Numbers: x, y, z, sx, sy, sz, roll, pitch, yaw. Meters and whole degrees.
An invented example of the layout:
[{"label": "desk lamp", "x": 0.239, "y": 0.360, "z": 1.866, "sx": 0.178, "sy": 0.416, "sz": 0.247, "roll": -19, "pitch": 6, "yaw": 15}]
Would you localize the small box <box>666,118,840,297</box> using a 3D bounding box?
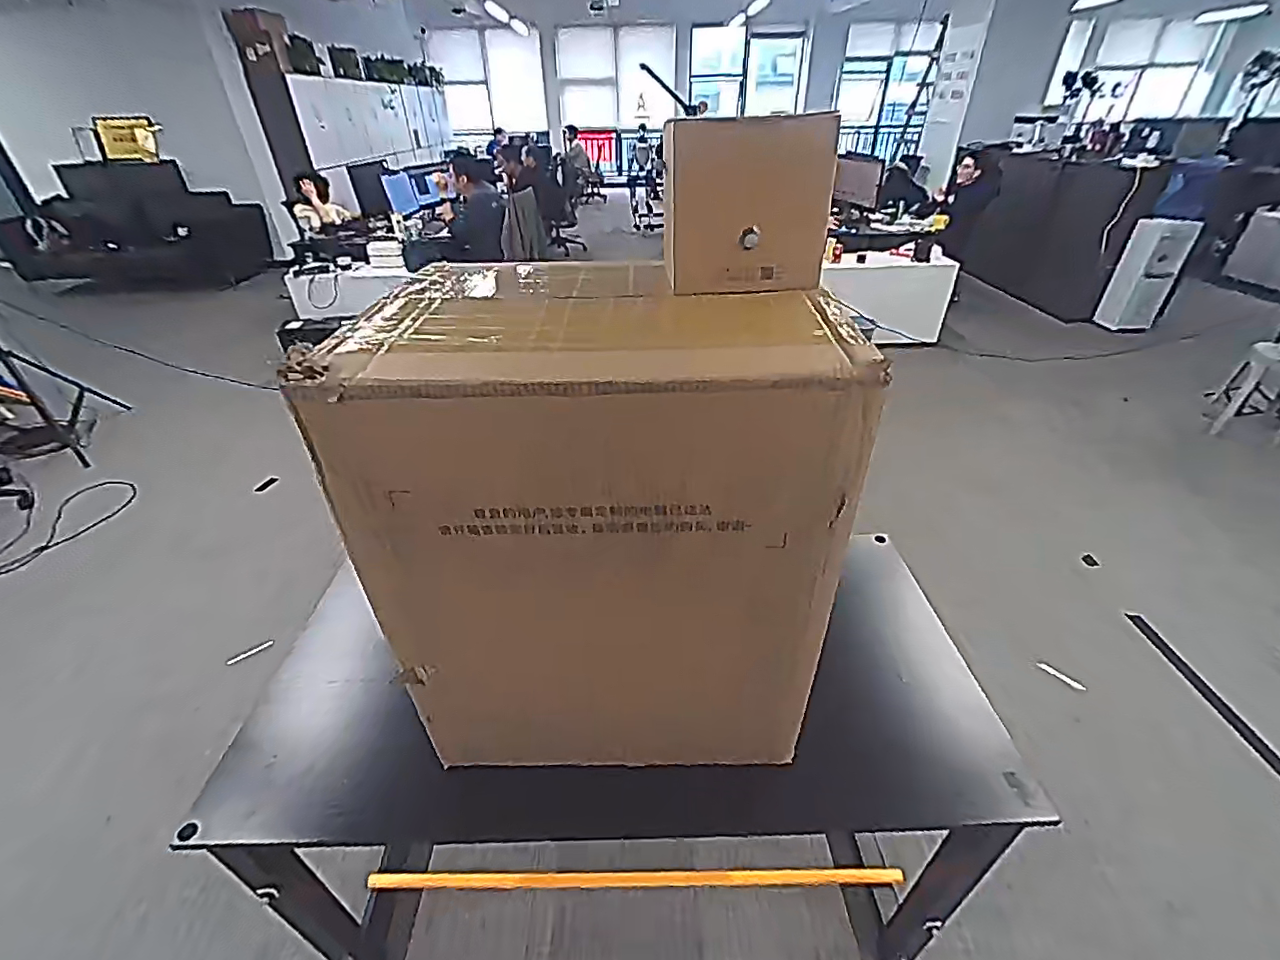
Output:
[{"label": "small box", "x": 0.116, "y": -0.321, "z": 0.639, "sx": 0.168, "sy": 0.176, "sz": 0.179, "roll": -3, "pitch": 32, "yaw": 0}]
